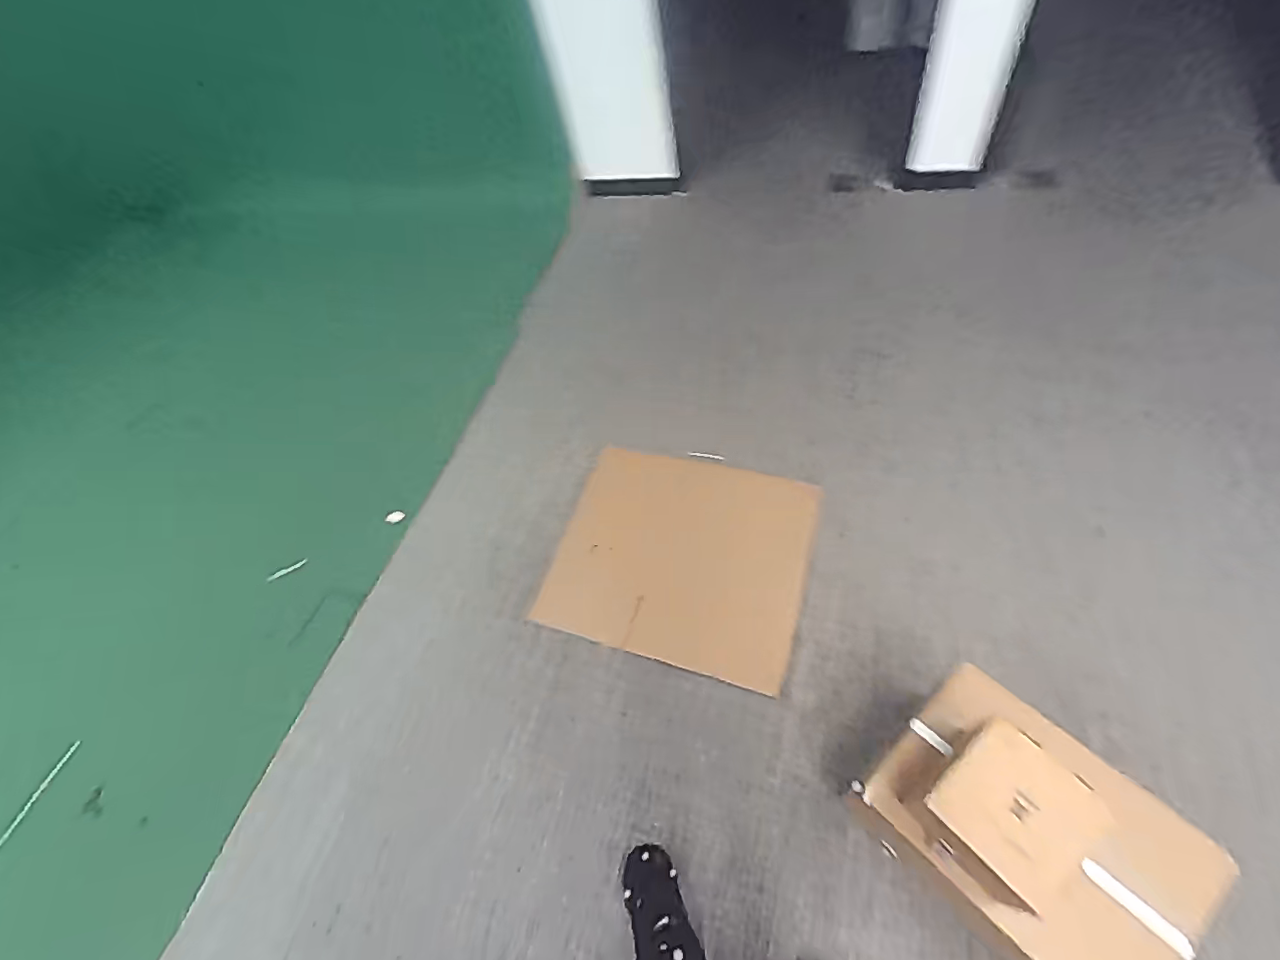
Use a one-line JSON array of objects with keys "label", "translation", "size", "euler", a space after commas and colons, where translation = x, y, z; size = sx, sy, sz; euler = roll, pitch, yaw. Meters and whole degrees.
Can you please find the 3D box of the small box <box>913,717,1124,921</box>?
[{"label": "small box", "translation": [0.526, 0.481, 0.783], "size": [0.179, 0.176, 0.168], "euler": [-41, 56, -12]}]
